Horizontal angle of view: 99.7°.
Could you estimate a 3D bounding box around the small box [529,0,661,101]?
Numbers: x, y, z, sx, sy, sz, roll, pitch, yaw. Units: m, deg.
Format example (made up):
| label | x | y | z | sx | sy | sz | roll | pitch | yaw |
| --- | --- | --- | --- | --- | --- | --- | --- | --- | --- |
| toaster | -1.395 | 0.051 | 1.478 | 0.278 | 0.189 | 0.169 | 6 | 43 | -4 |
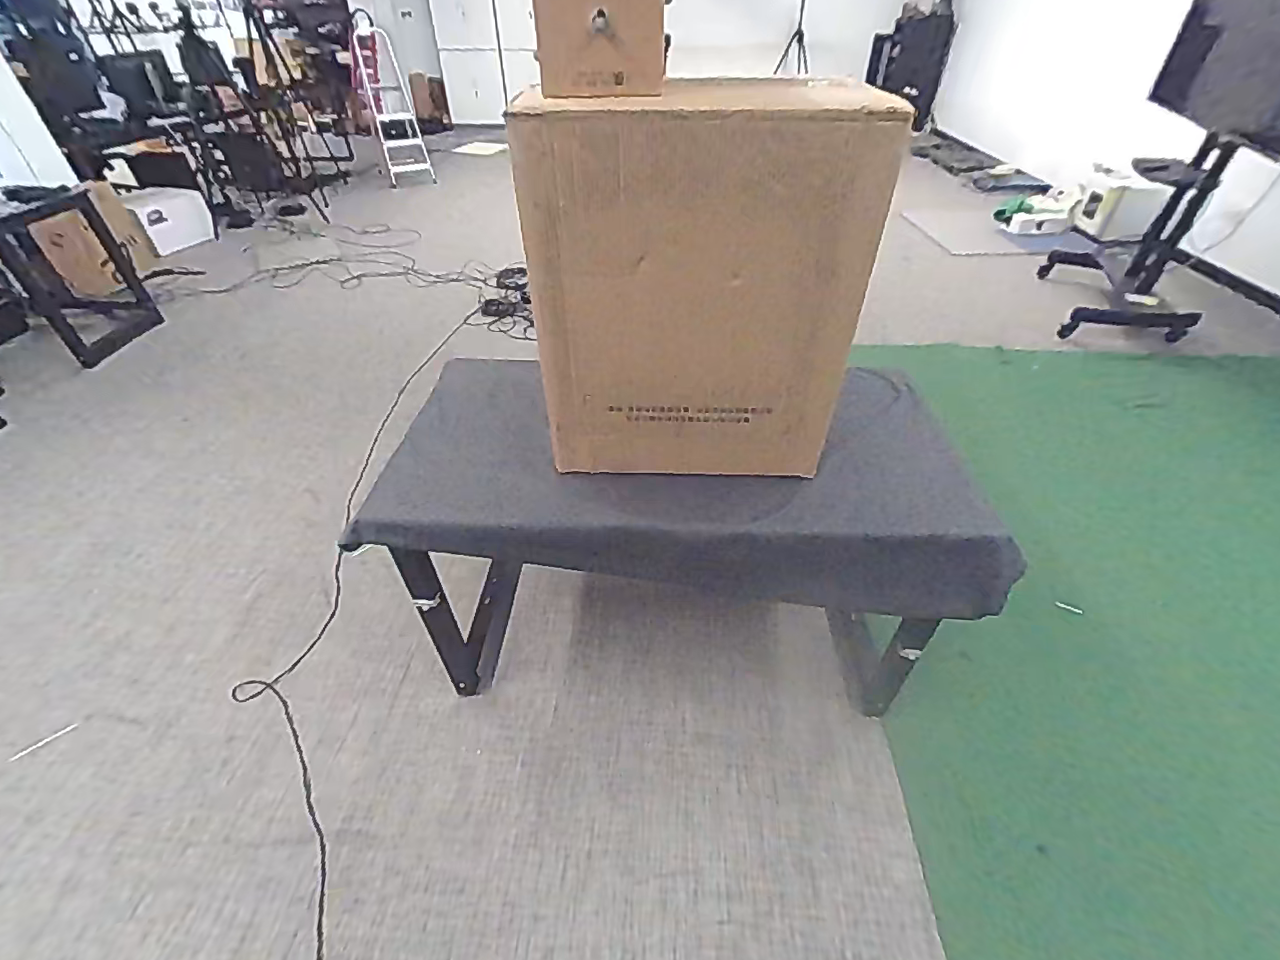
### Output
| label | x | y | z | sx | sy | sz | roll | pitch | yaw |
| --- | --- | --- | --- | --- | --- | --- | --- | --- | --- |
| small box | -0.056 | -0.634 | 0.741 | 0.168 | 0.176 | 0.179 | -2 | 45 | 0 |
